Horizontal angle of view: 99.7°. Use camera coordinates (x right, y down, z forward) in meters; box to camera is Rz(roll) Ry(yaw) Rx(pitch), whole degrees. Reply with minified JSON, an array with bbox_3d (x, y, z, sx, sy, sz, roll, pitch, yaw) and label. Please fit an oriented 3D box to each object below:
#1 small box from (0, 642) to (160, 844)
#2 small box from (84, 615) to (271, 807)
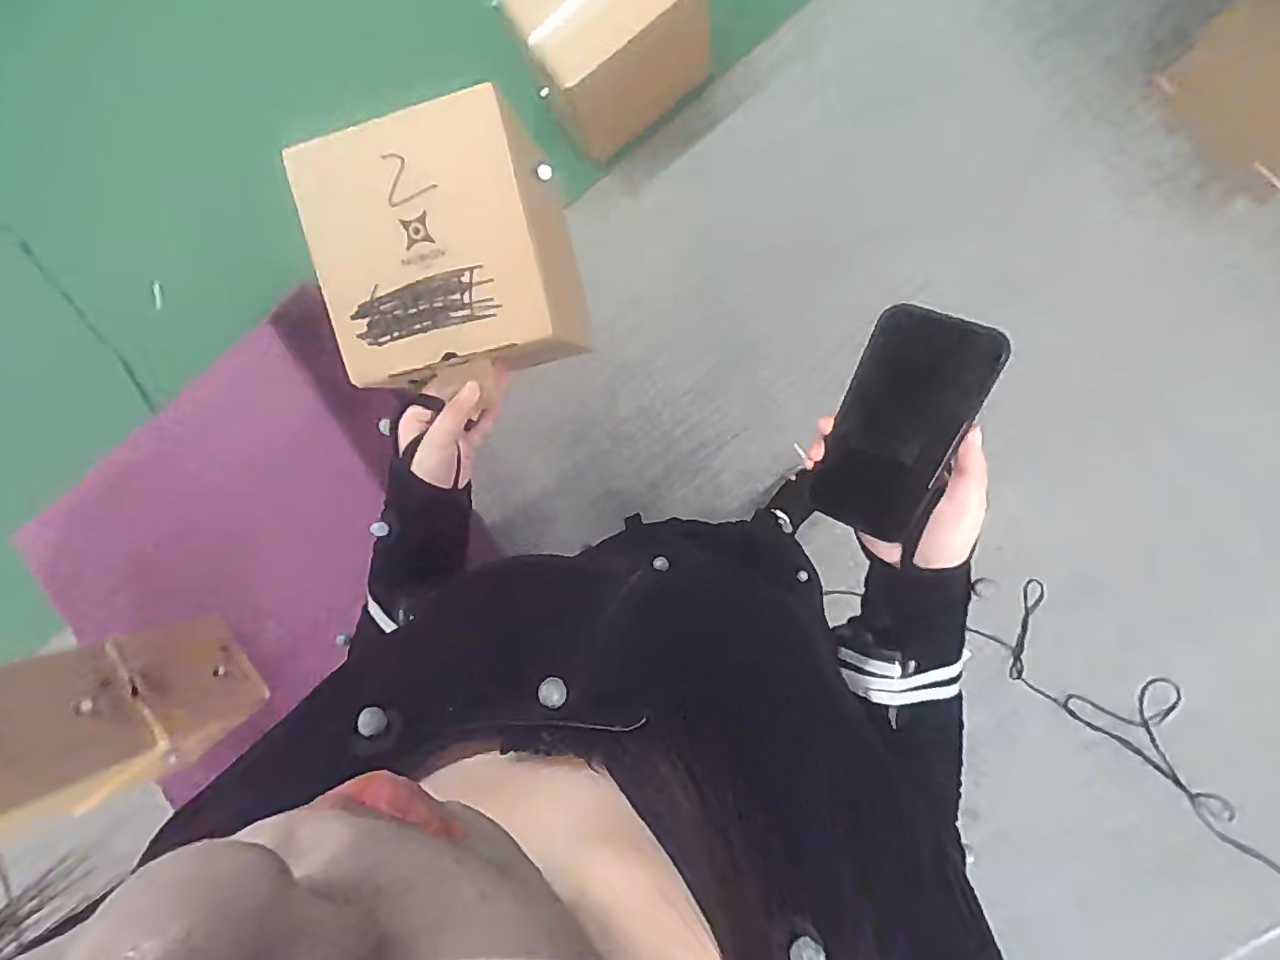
[{"bbox_3d":[-0.747,0.325,0.647,0.179,0.176,0.168,-36,84,6],"label":"small box"},{"bbox_3d":[-0.712,0.330,0.808,0.179,0.176,0.168,-39,83,6],"label":"small box"}]
